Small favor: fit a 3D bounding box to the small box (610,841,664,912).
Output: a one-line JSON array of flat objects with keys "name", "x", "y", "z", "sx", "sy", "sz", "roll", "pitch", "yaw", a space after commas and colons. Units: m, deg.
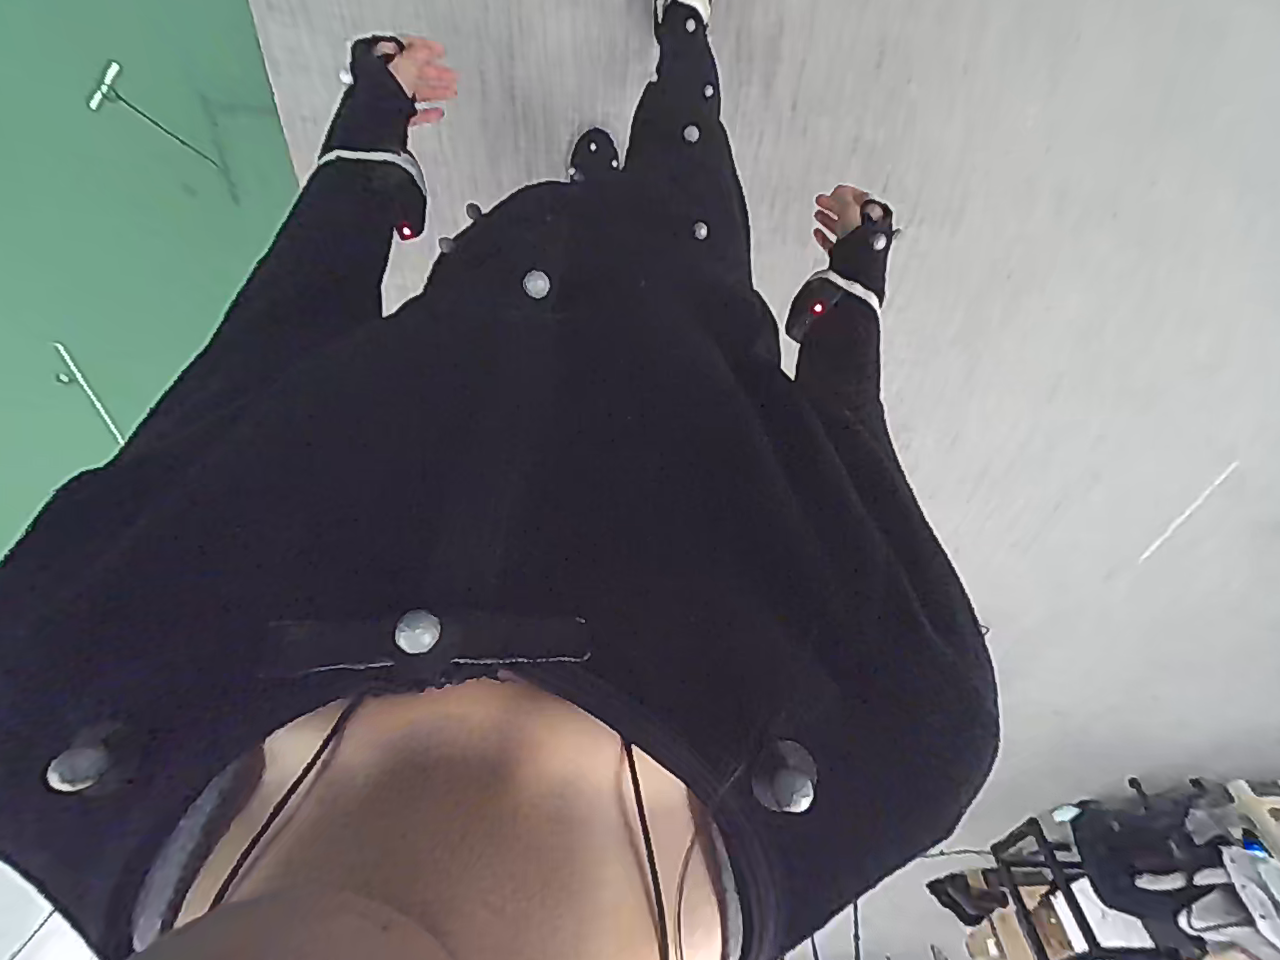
[{"name": "small box", "x": -0.013, "y": 1.381, "z": 1.885, "sx": 0.168, "sy": 0.176, "sz": 0.179, "roll": 6, "pitch": 130, "yaw": -5}]
